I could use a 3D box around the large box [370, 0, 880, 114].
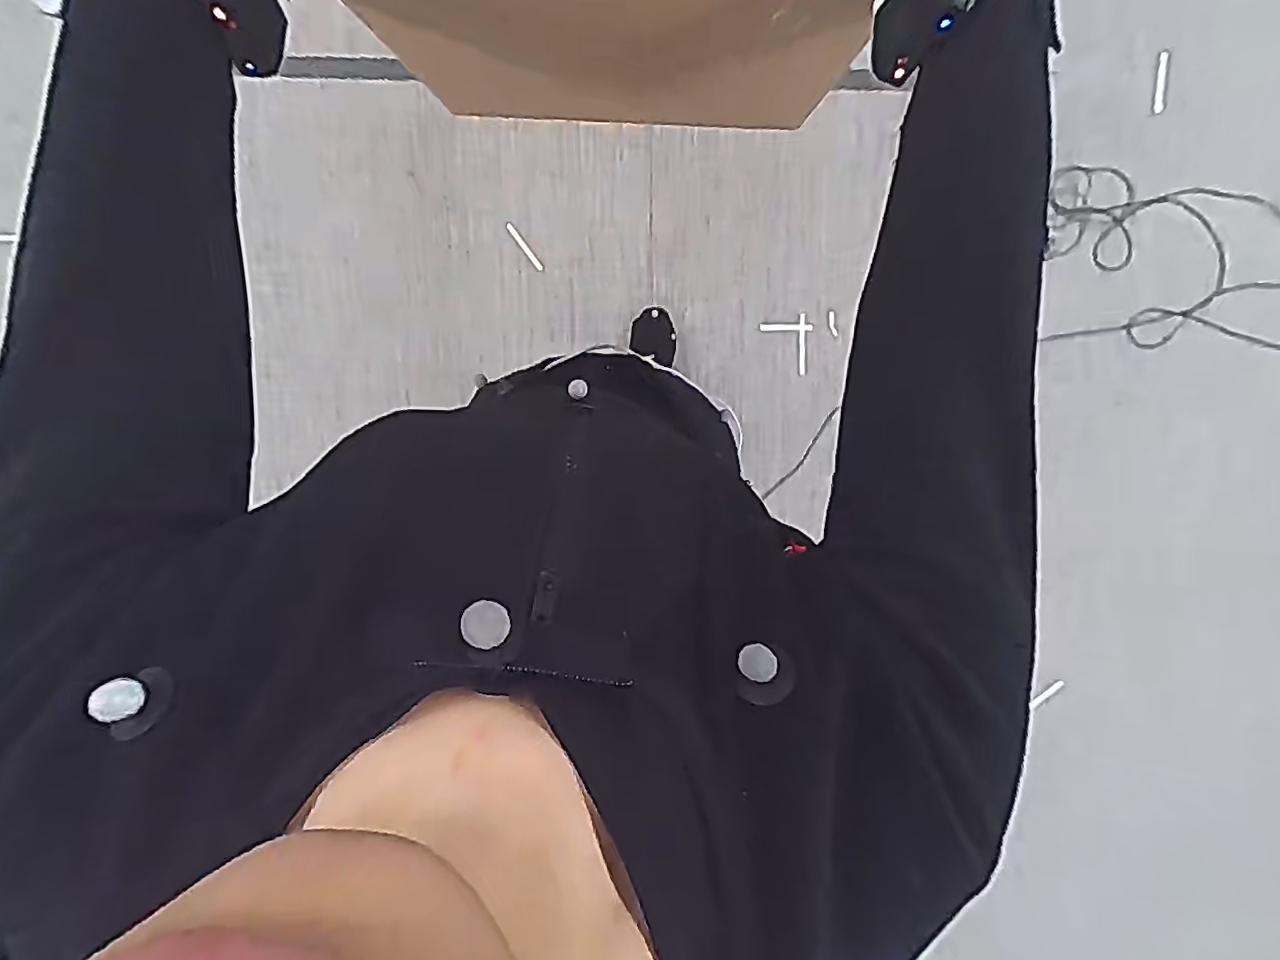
[{"bbox_3d":[-0.012,-0.529,0.442,0.408,0.320,0.320,2,108,0],"label":"large box"}]
